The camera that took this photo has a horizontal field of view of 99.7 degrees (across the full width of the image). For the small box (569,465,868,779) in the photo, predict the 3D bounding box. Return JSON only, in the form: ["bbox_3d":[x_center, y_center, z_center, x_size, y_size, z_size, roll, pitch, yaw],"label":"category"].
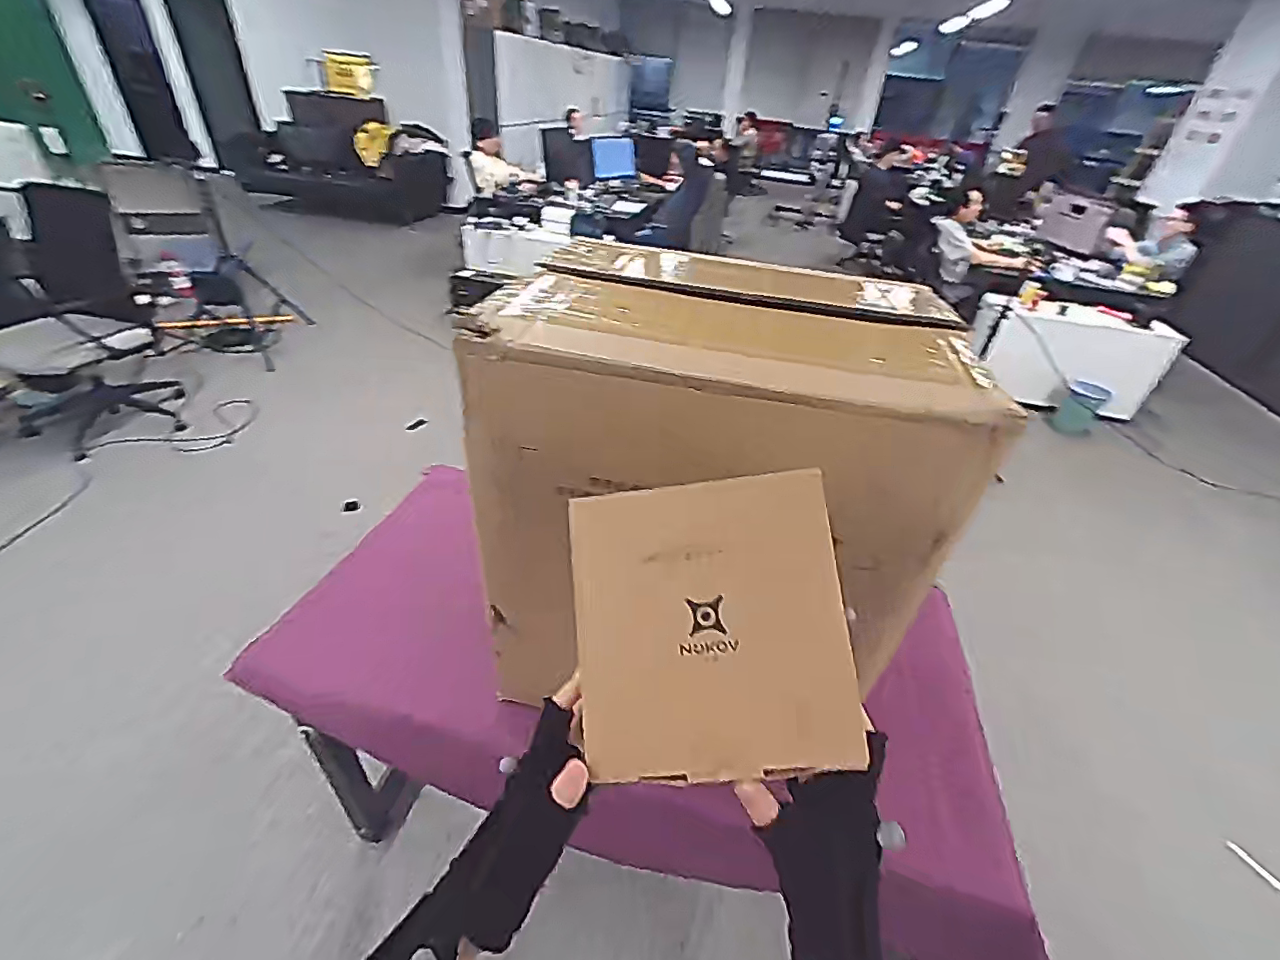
[{"bbox_3d":[0.052,0.100,0.409,0.168,0.176,0.179,-8,76,5],"label":"small box"}]
